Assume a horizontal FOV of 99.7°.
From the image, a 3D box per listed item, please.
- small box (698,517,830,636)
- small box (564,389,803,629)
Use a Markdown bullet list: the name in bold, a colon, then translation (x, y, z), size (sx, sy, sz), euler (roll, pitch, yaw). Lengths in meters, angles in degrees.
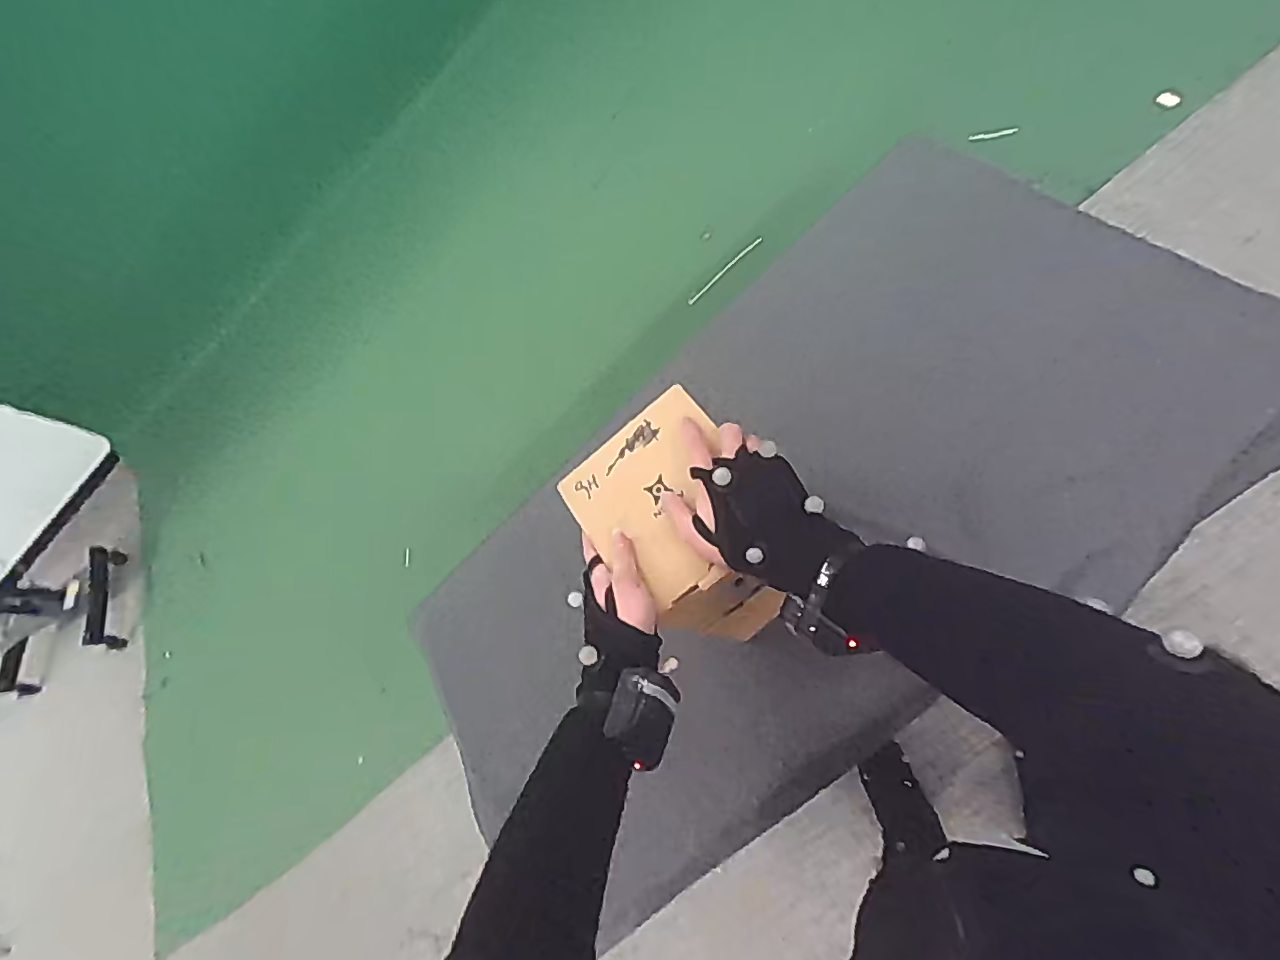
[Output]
- **small box**: translation (0.128, 0.089, 0.719), size (0.168, 0.176, 0.179), euler (-42, 58, 8)
- **small box**: translation (0.056, 0.041, 0.583), size (0.168, 0.176, 0.179), euler (-39, 64, 6)
